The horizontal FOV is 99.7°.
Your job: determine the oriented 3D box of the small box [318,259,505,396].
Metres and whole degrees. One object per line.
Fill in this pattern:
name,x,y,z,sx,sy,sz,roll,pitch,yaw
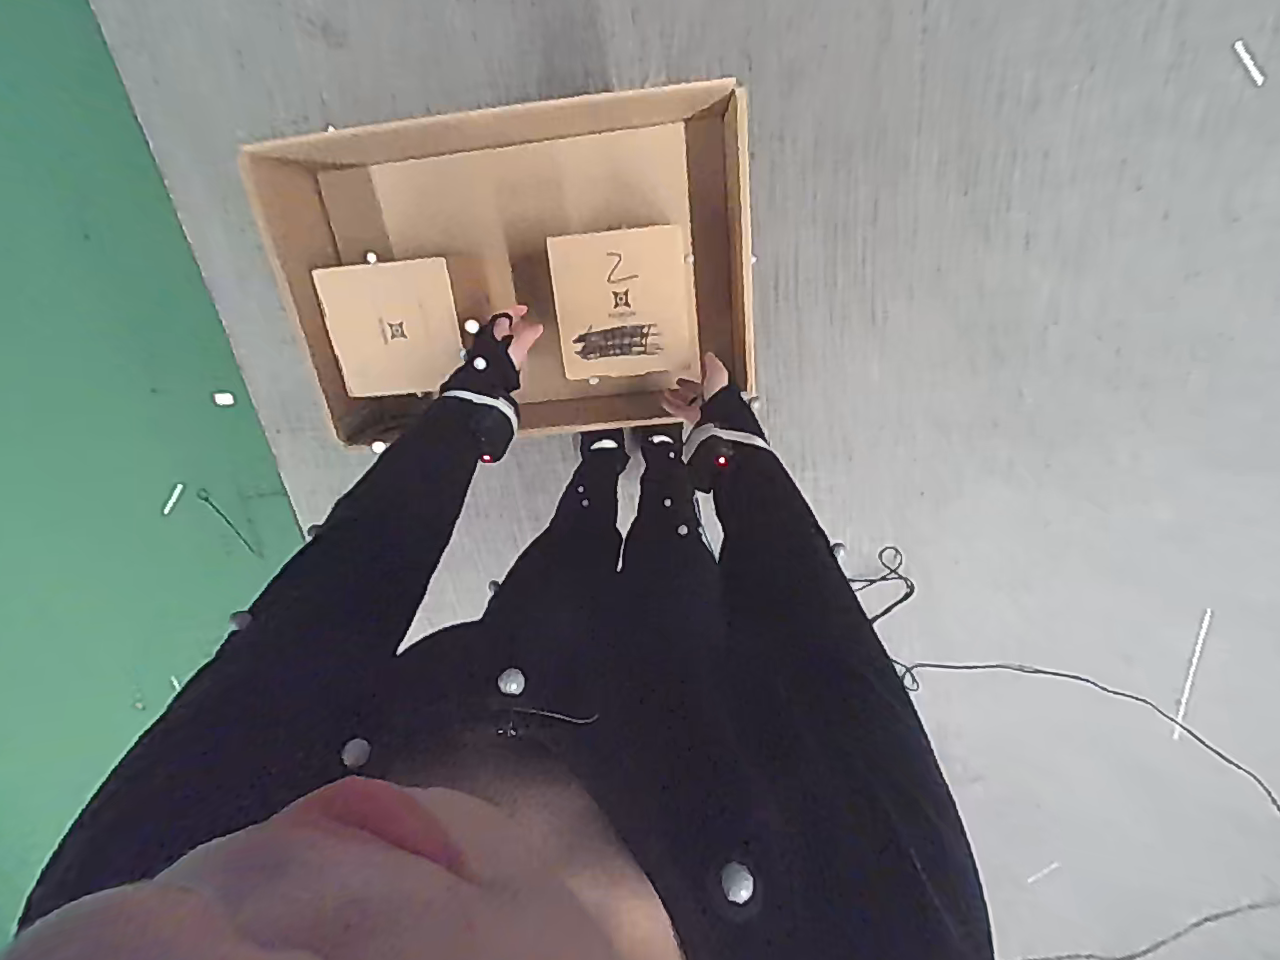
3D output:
small box,-0.310,-0.221,0.773,0.179,0.176,0.168,-3,112,4
